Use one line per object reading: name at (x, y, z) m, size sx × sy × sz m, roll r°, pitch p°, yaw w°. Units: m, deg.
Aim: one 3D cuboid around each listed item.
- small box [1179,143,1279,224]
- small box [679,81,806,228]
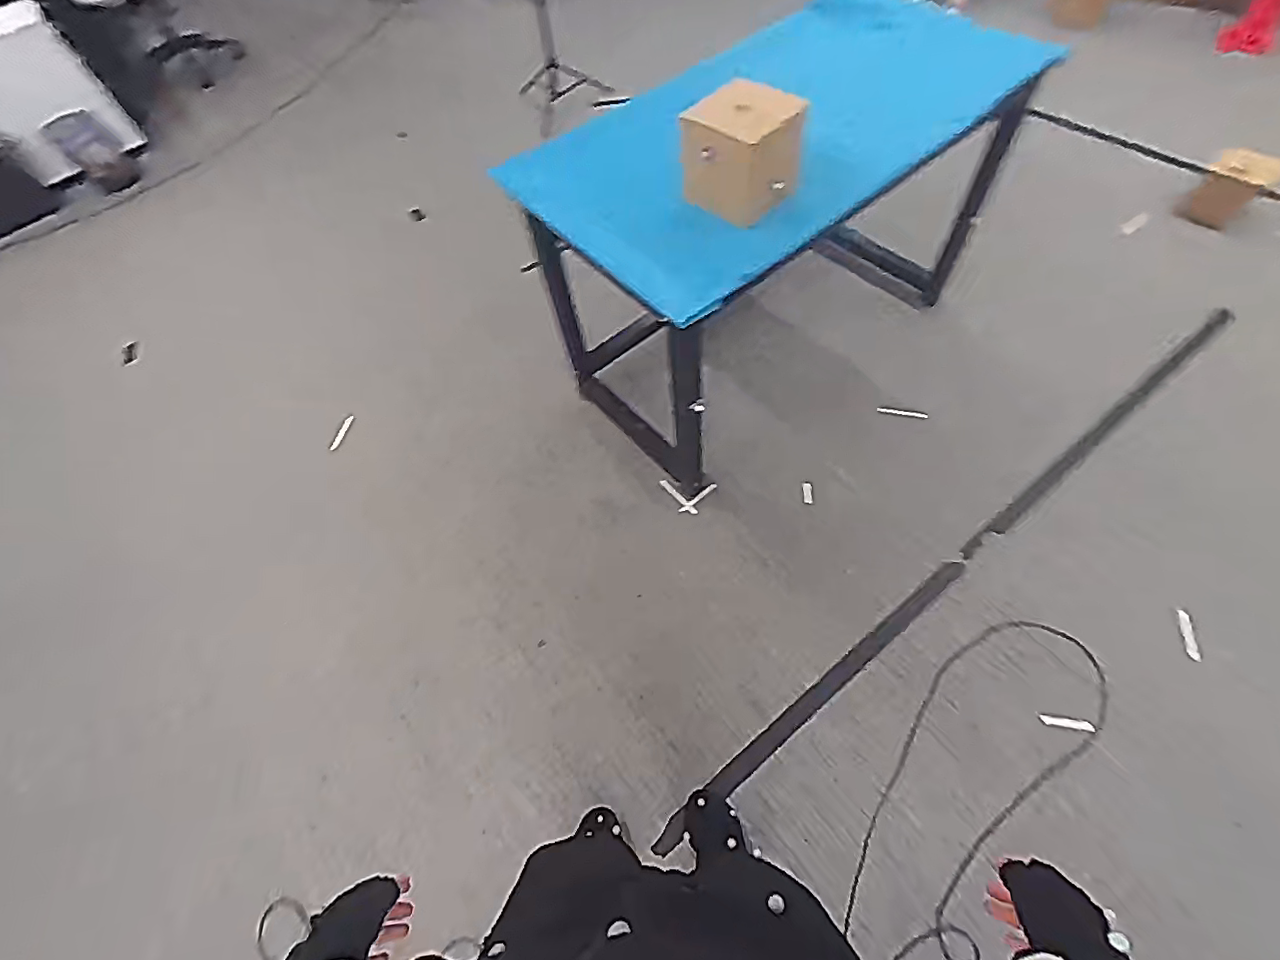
small box at (2.063, -1.033, 1.894) m, size 0.179 × 0.176 × 0.168 m, roll -38°, pitch 63°, yaw -15°
small box at (0.193, -0.634, 1.064) m, size 0.168 × 0.176 × 0.179 m, roll -40°, pitch 65°, yaw -14°
